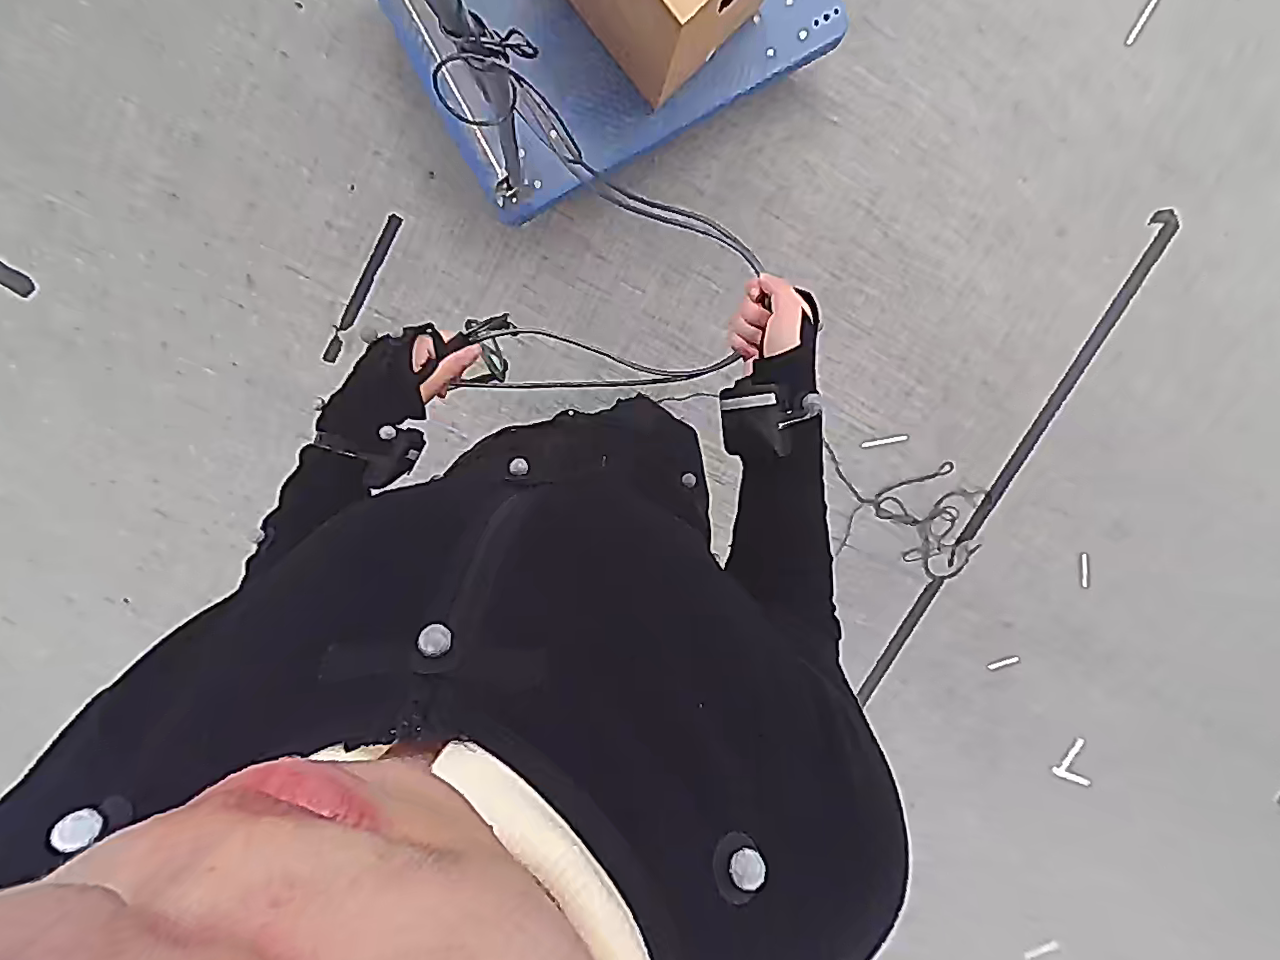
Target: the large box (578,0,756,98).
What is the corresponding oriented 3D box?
[{"bbox_3d":[0.028,-1.014,0.952,0.320,0.320,0.408,-43,105,5],"label":"large box"}]
